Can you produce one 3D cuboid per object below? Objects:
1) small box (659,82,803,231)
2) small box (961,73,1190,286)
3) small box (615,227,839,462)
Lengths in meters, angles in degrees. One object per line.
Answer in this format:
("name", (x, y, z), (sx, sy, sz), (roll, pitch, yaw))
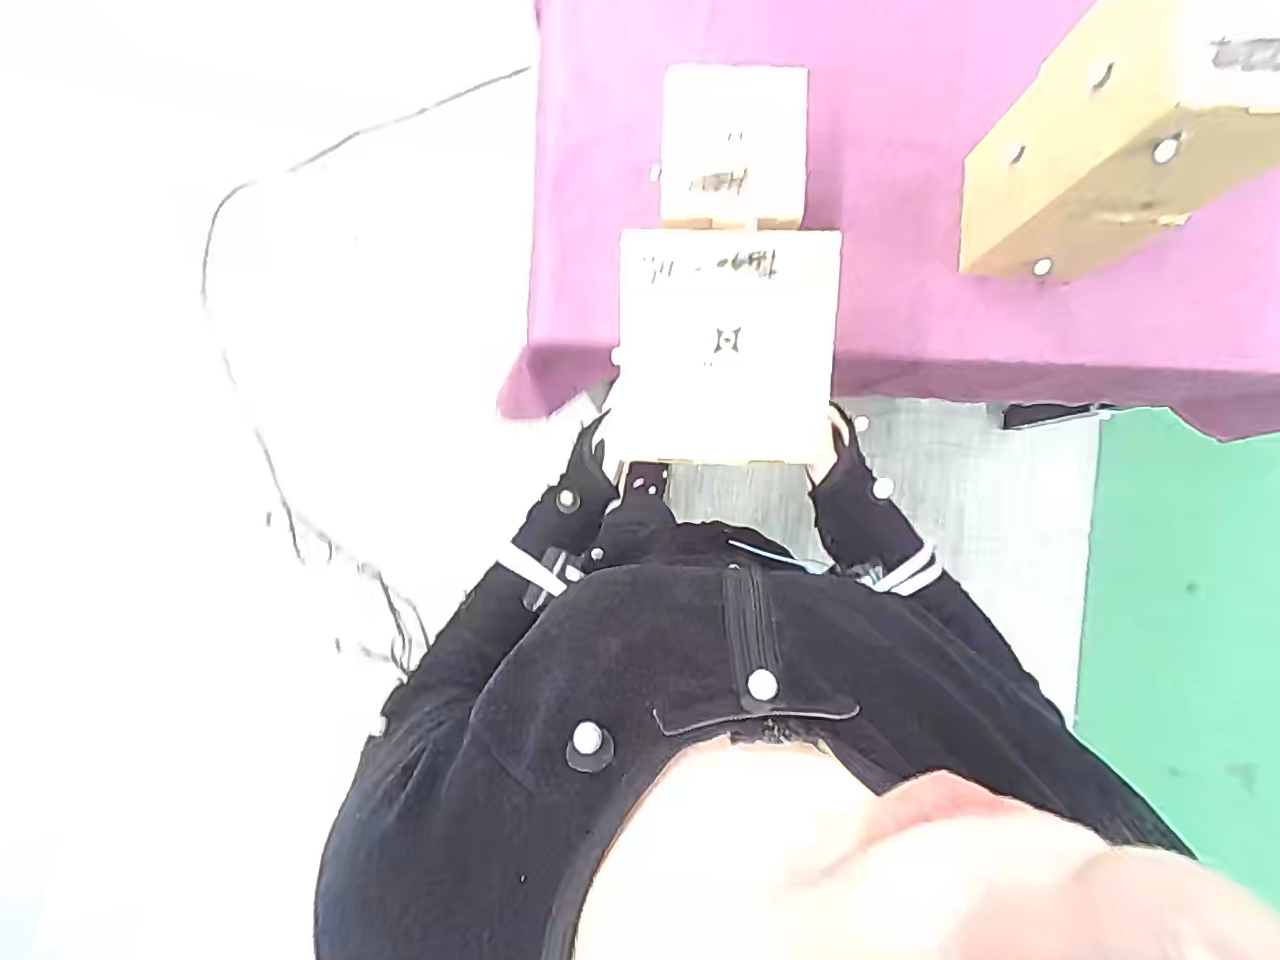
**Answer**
("small box", (0.110, -0.376, 0.711), (0.168, 0.176, 0.179), (1, 87, 1))
("small box", (0.543, -0.374, 0.698), (0.168, 0.176, 0.179), (5, 88, 2))
("small box", (0.067, -0.119, 0.497), (0.168, 0.176, 0.179), (2, 102, 2))
